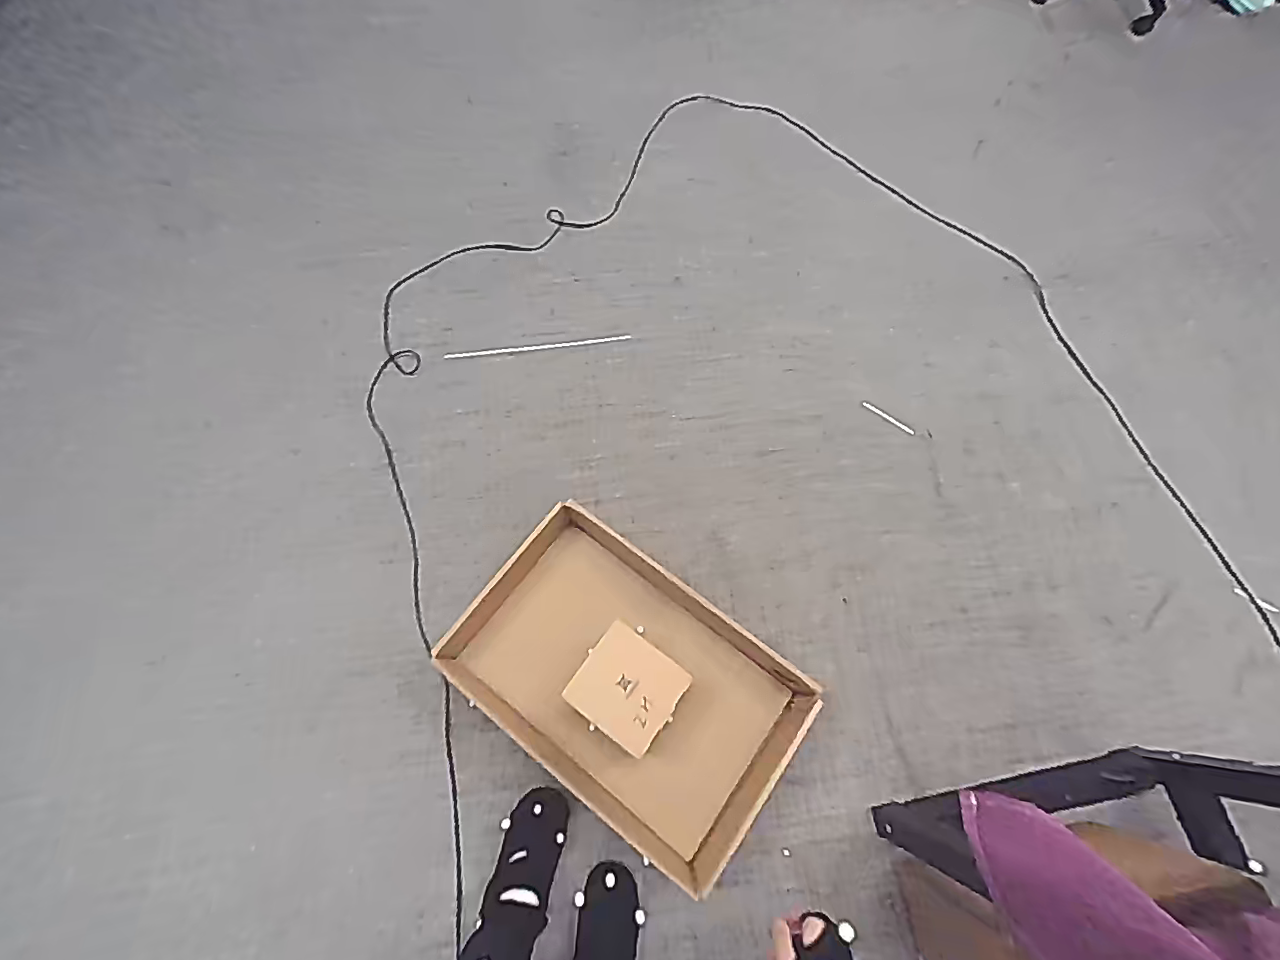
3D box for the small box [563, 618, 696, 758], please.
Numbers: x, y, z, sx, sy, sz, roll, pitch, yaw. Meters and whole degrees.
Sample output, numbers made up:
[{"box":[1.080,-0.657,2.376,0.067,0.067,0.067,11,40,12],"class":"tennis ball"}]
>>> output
[{"box":[-0.018,0.386,1.014,0.179,0.176,0.168,35,75,12],"class":"small box"}]
